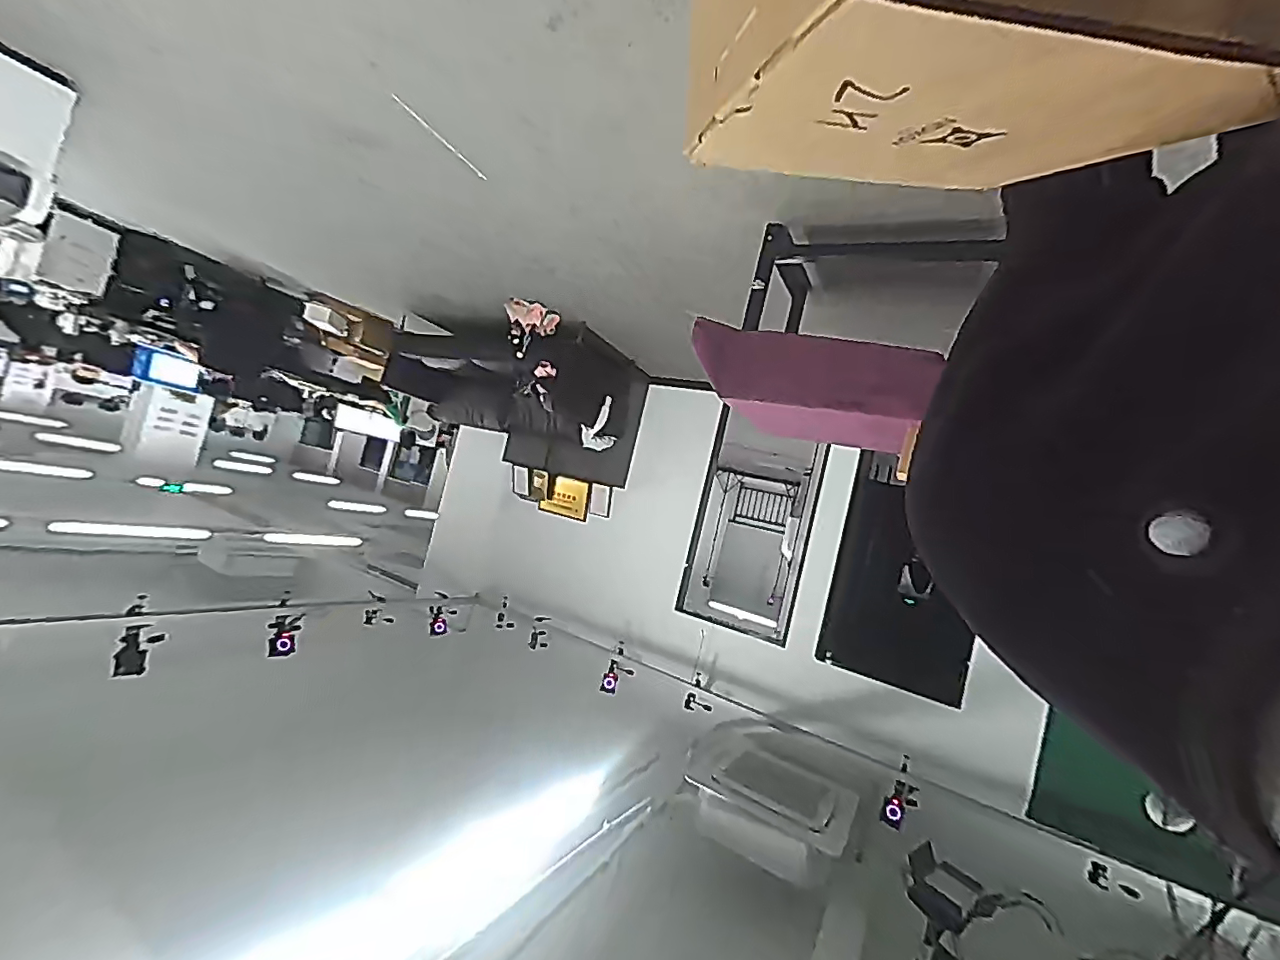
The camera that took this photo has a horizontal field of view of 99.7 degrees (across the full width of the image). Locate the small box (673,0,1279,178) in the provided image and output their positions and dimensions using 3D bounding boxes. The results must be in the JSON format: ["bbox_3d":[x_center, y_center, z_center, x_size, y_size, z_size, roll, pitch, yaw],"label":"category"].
[{"bbox_3d":[0.120,-0.215,0.176,0.179,0.176,0.168,1,-162,-11],"label":"small box"}]
